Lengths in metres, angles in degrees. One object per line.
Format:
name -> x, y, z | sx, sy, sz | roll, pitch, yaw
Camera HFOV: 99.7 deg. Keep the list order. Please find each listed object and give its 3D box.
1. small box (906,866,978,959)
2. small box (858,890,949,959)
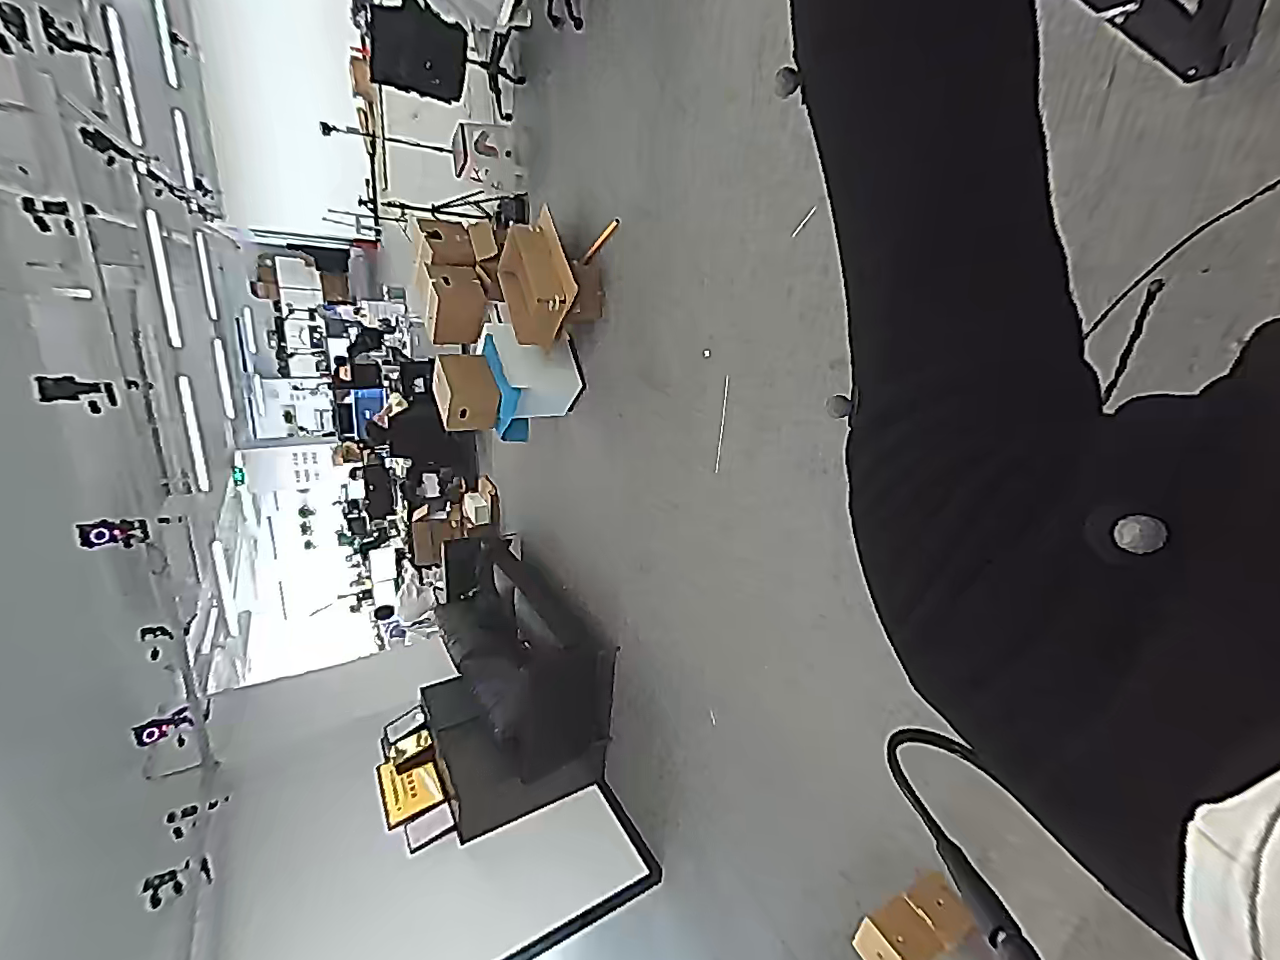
small box -> 0.995, 1.455, 1.819 | 0.168, 0.176, 0.179 | 42, 130, 48
small box -> 0.850, 1.477, 1.748 | 0.179, 0.176, 0.168 | 39, 129, 49
